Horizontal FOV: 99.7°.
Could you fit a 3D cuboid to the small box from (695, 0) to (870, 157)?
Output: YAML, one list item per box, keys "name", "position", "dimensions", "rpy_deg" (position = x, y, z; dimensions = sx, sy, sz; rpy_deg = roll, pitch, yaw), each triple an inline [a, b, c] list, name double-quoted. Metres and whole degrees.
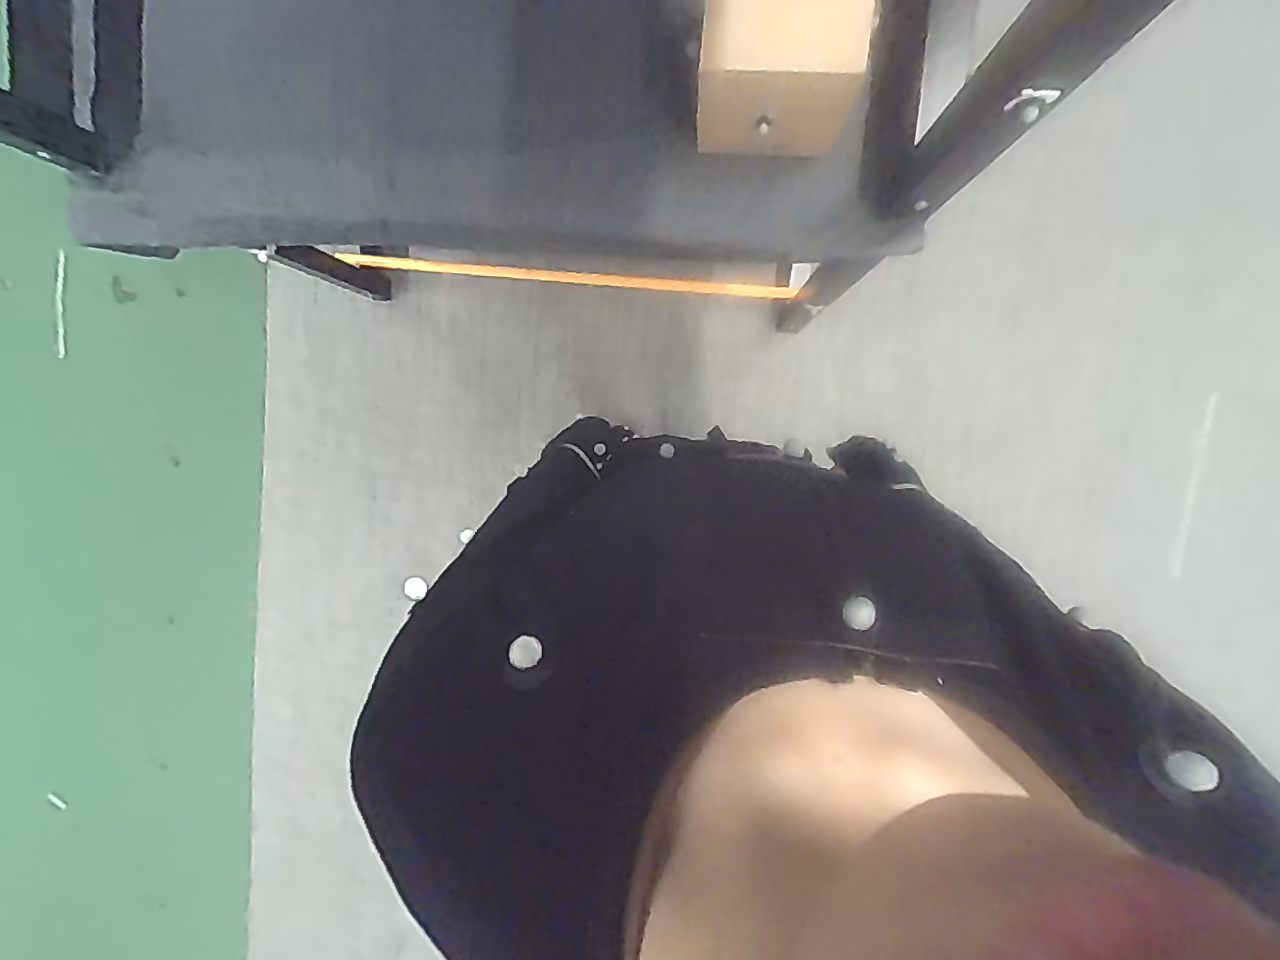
- name: "small box"
  position: [0.154, -0.496, 0.614]
  dimensions: [0.168, 0.176, 0.179]
  rpy_deg: [6, 95, 4]
